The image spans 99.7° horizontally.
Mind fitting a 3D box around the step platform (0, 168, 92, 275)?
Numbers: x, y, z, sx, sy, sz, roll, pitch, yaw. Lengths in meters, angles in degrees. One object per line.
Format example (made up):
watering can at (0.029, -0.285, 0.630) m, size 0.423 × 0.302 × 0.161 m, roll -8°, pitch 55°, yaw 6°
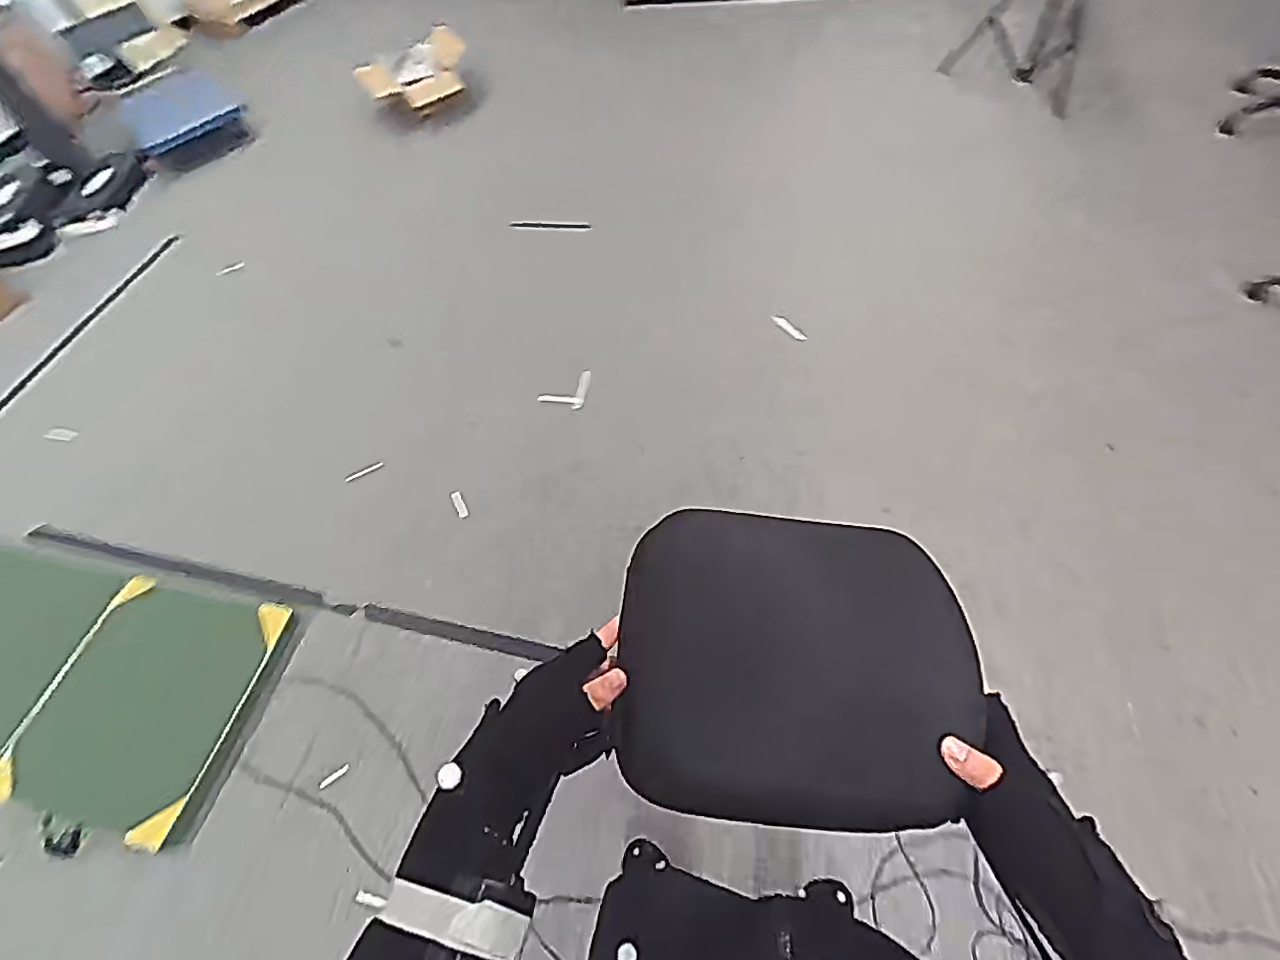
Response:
step platform at (-3.280, -1.417, 2.925) m, size 0.286 × 0.204 × 0.684 m, roll -17°, pitch 58°, yaw -3°
